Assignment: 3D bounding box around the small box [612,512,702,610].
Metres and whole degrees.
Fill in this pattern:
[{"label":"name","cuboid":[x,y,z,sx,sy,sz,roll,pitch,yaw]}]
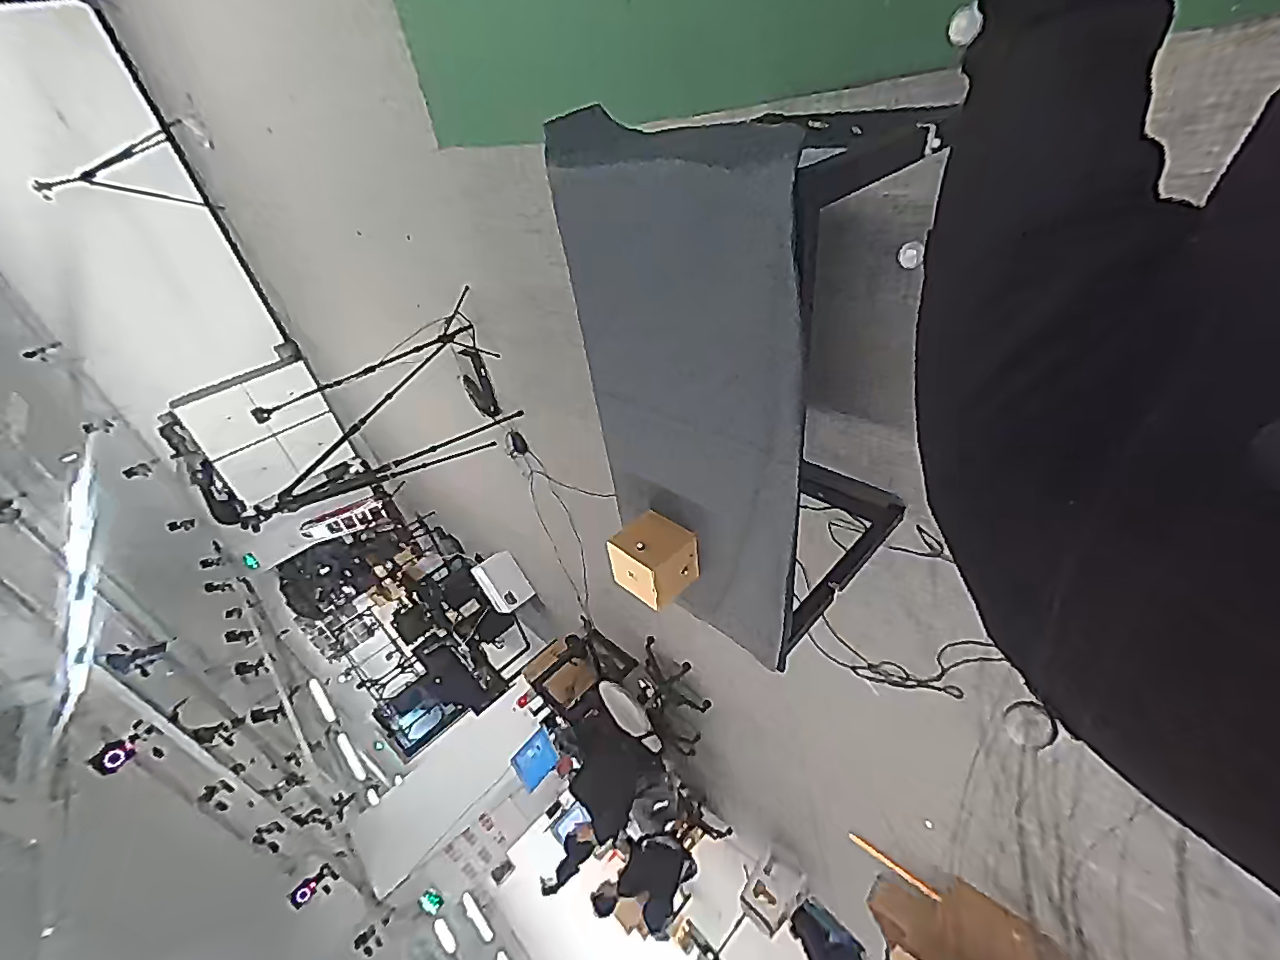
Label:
[{"label":"small box","cuboid":[0.049,0.213,1.482,0.179,0.176,0.168,27,141,38]}]
